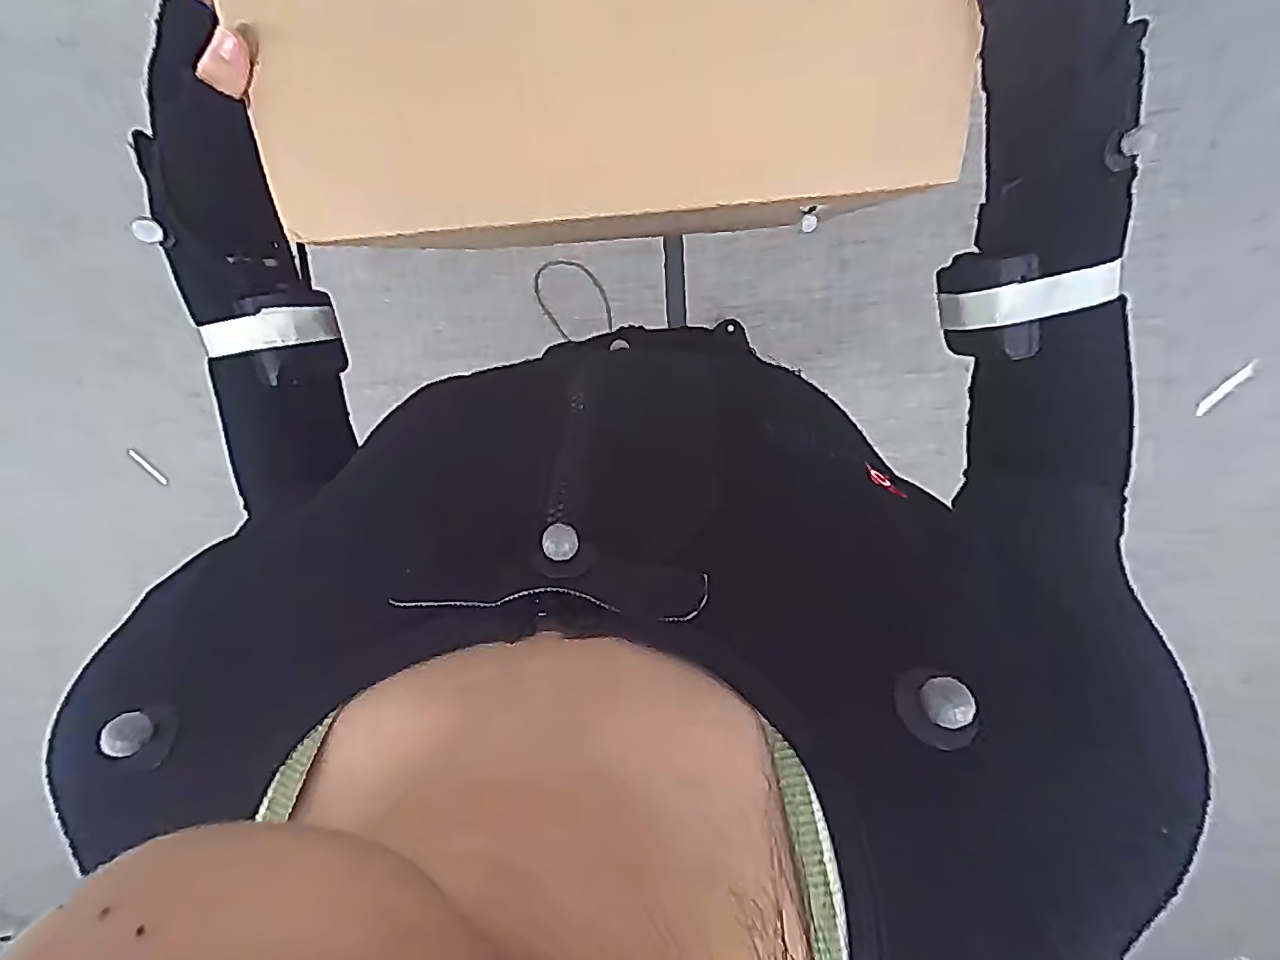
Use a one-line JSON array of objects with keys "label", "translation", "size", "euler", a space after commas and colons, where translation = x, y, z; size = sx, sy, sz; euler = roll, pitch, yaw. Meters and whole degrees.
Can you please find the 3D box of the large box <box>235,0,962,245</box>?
[{"label": "large box", "translation": [-0.021, -0.363, 0.413], "size": [0.408, 0.320, 0.320], "euler": [-2, 112, 5]}]
